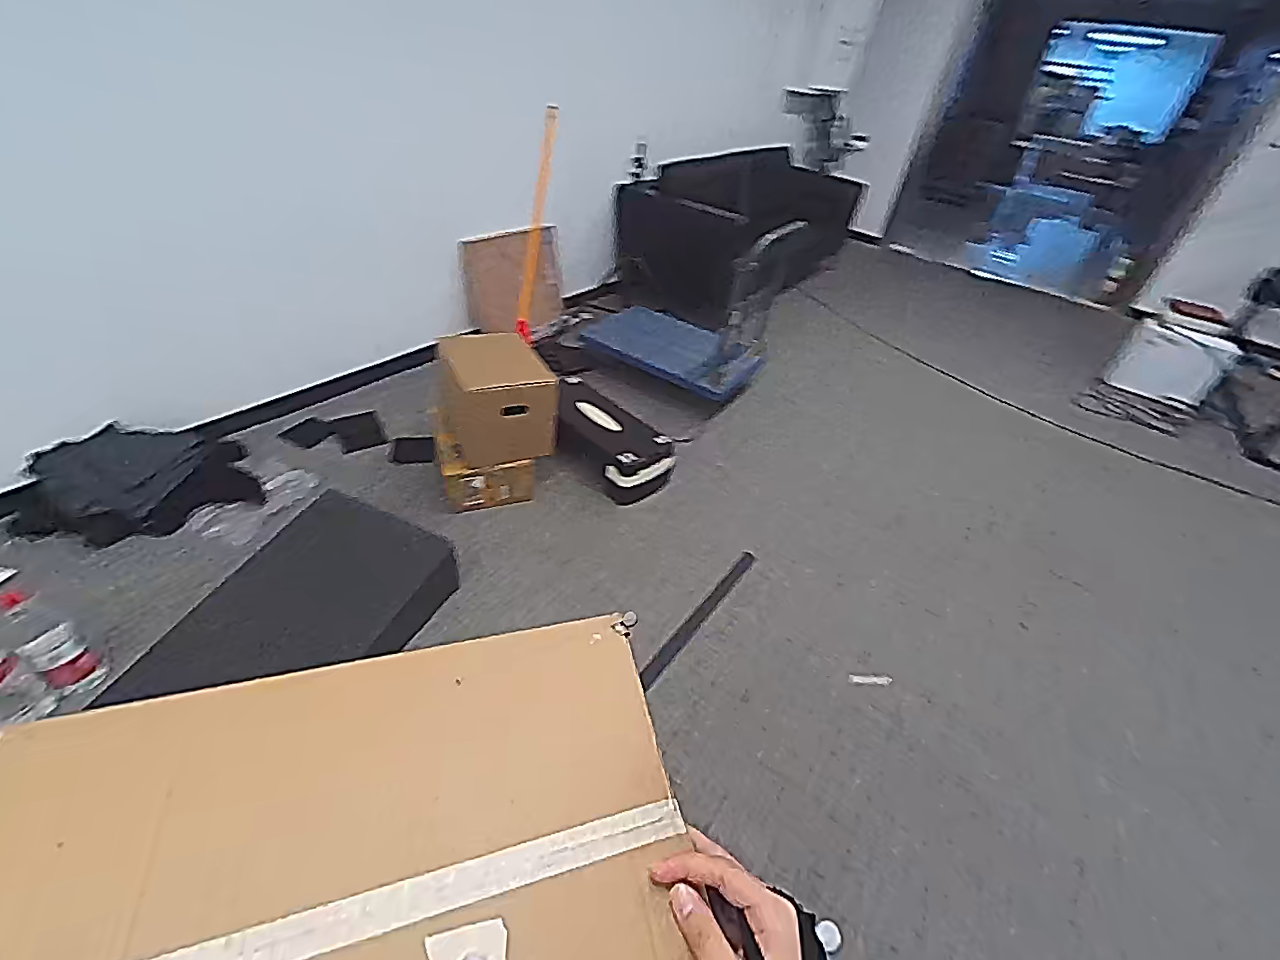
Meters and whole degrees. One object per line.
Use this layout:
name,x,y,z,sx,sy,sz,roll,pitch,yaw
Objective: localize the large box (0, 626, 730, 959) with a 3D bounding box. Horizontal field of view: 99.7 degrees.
large box,-0.178,0.358,0.411,0.408,0.320,0.320,-6,48,-17
